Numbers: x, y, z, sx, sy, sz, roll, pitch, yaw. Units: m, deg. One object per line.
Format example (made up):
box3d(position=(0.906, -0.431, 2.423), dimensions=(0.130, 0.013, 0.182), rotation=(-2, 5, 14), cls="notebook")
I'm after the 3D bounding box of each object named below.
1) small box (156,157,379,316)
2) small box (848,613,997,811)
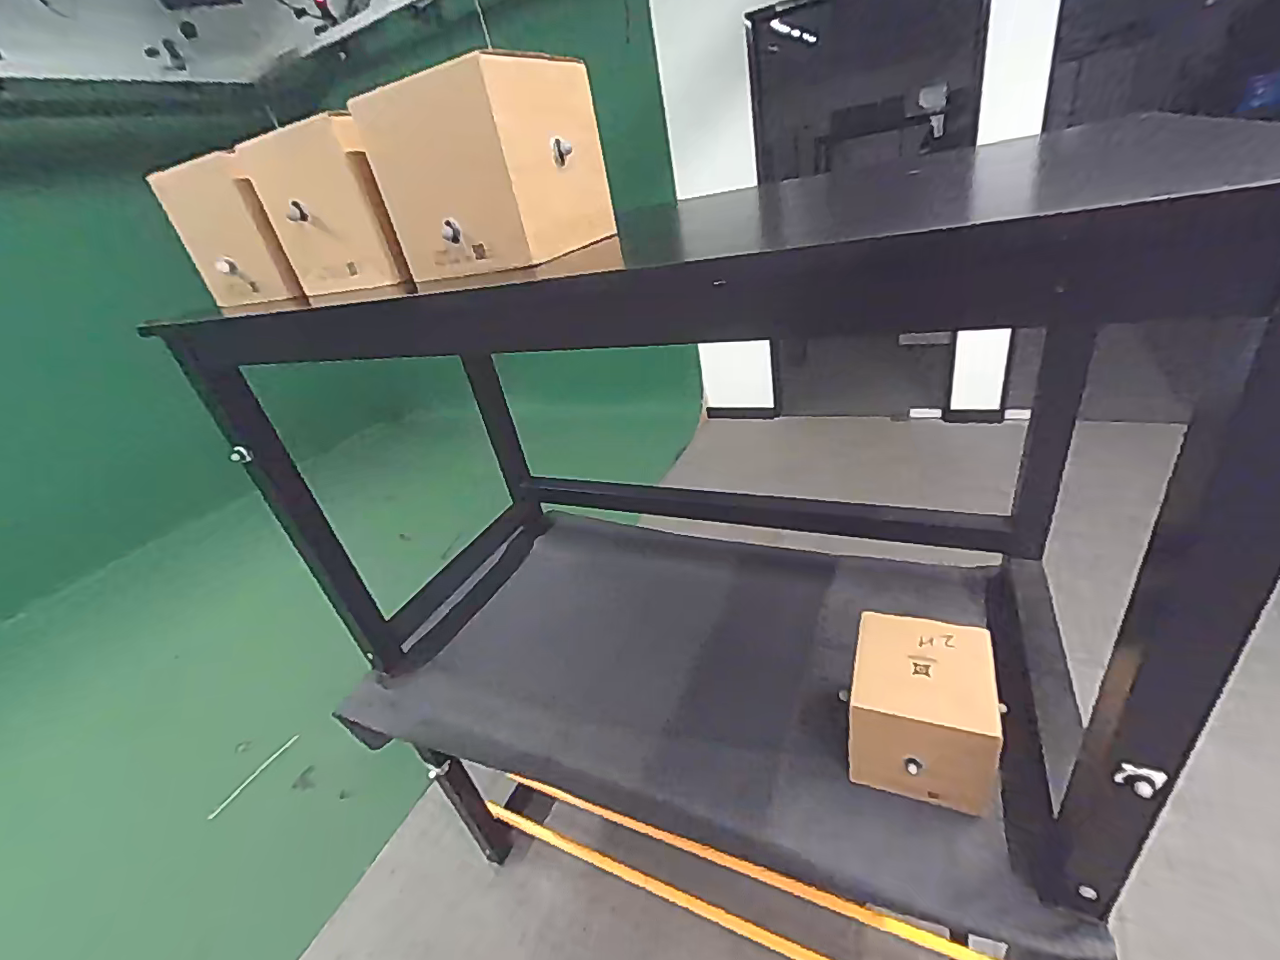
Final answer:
box3d(position=(-0.502, -0.340, 0.762), dimensions=(0.168, 0.176, 0.179), rotation=(4, 34, 26), cls="small box")
box3d(position=(0.389, 0.319, 0.757), dimensions=(0.168, 0.176, 0.179), rotation=(3, 32, 26), cls="small box")
